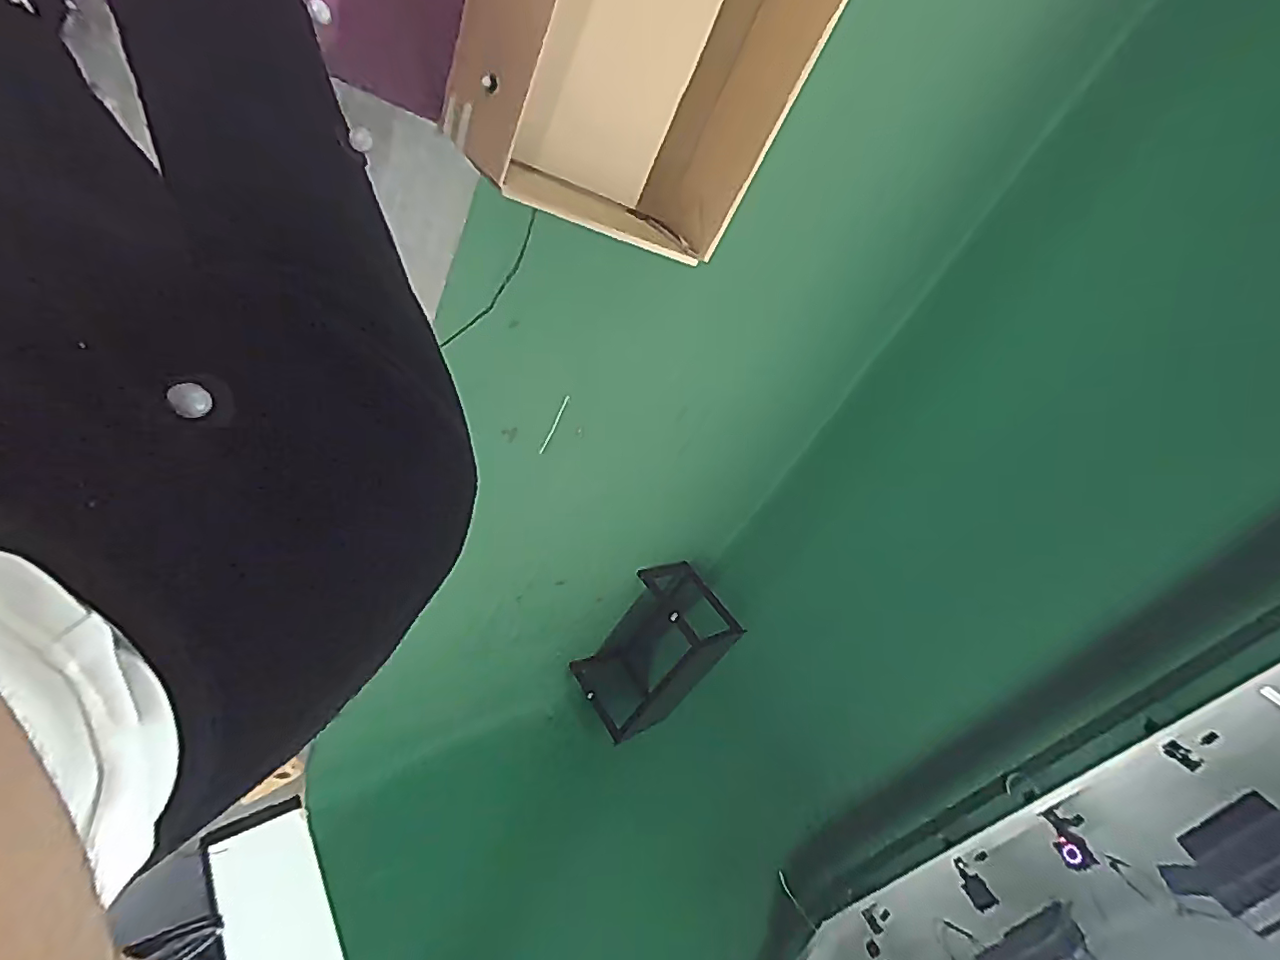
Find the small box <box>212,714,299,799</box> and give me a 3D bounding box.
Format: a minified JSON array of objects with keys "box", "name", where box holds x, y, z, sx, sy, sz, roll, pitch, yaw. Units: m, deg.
[{"box":[-1.276,0.911,1.794,0.179,0.176,0.168,-24,147,-27],"name":"small box"}]
